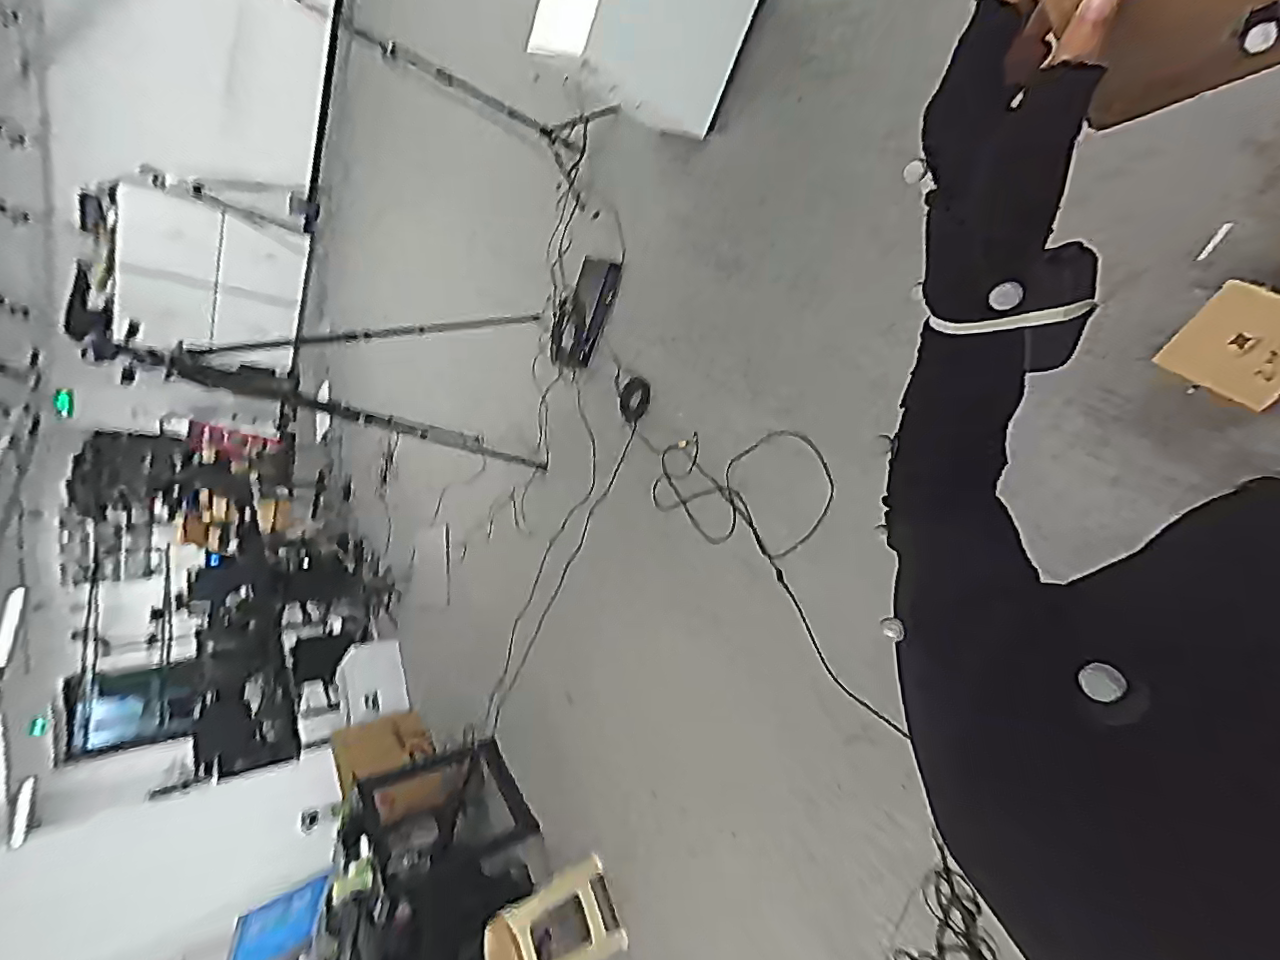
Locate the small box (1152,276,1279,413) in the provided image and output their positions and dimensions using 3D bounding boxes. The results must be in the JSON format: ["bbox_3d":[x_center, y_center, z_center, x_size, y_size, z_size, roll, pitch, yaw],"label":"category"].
[{"bbox_3d":[1.079,-0.233,0.965,0.179,0.176,0.168,50,123,36],"label":"small box"}]
